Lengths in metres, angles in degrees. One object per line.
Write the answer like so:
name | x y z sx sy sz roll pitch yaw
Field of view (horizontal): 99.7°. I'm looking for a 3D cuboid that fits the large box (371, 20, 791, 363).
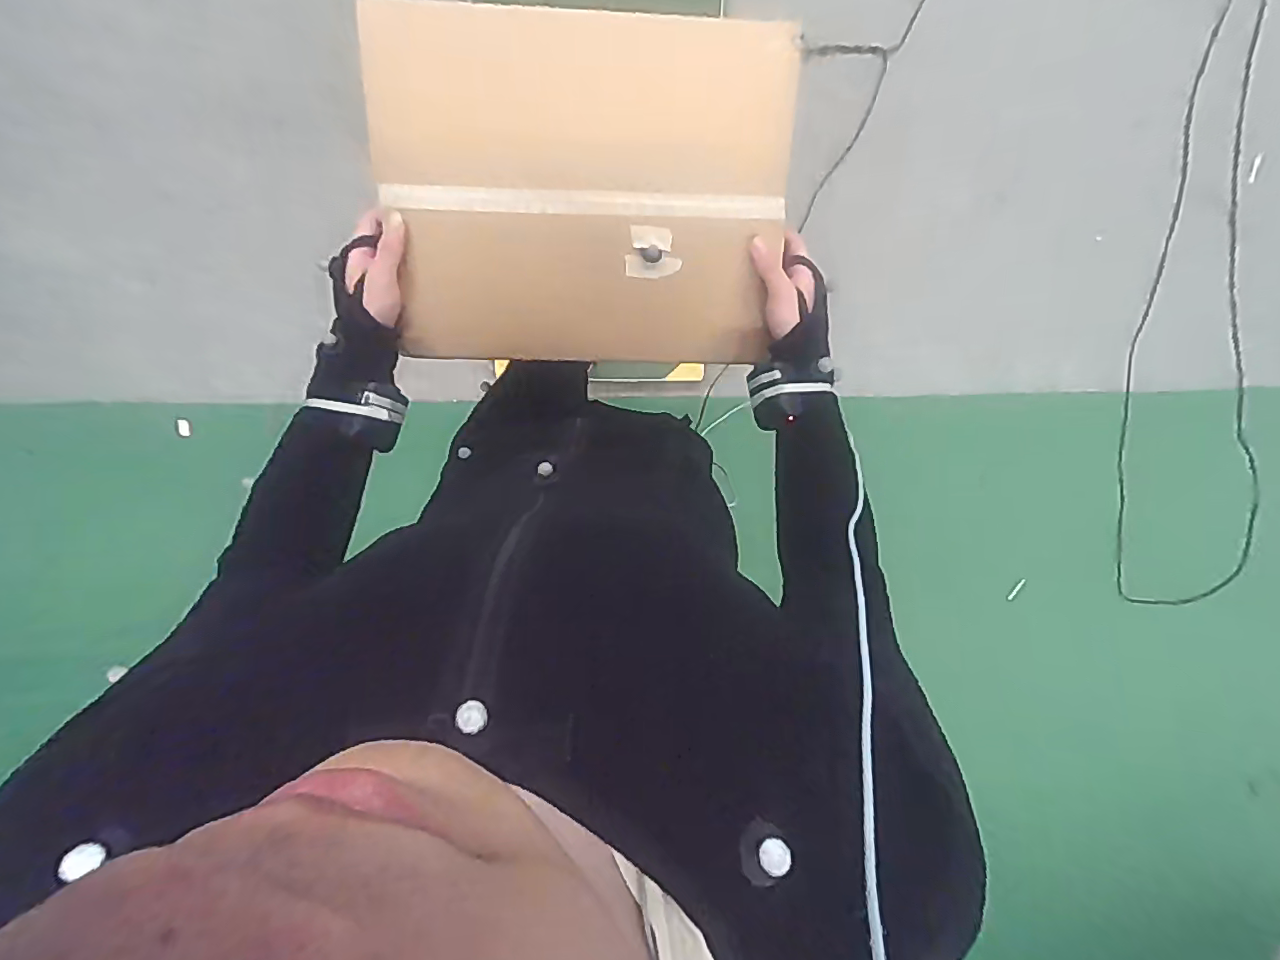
large box | -0.064 -0.325 0.696 0.408 0.320 0.320 0 109 -4
